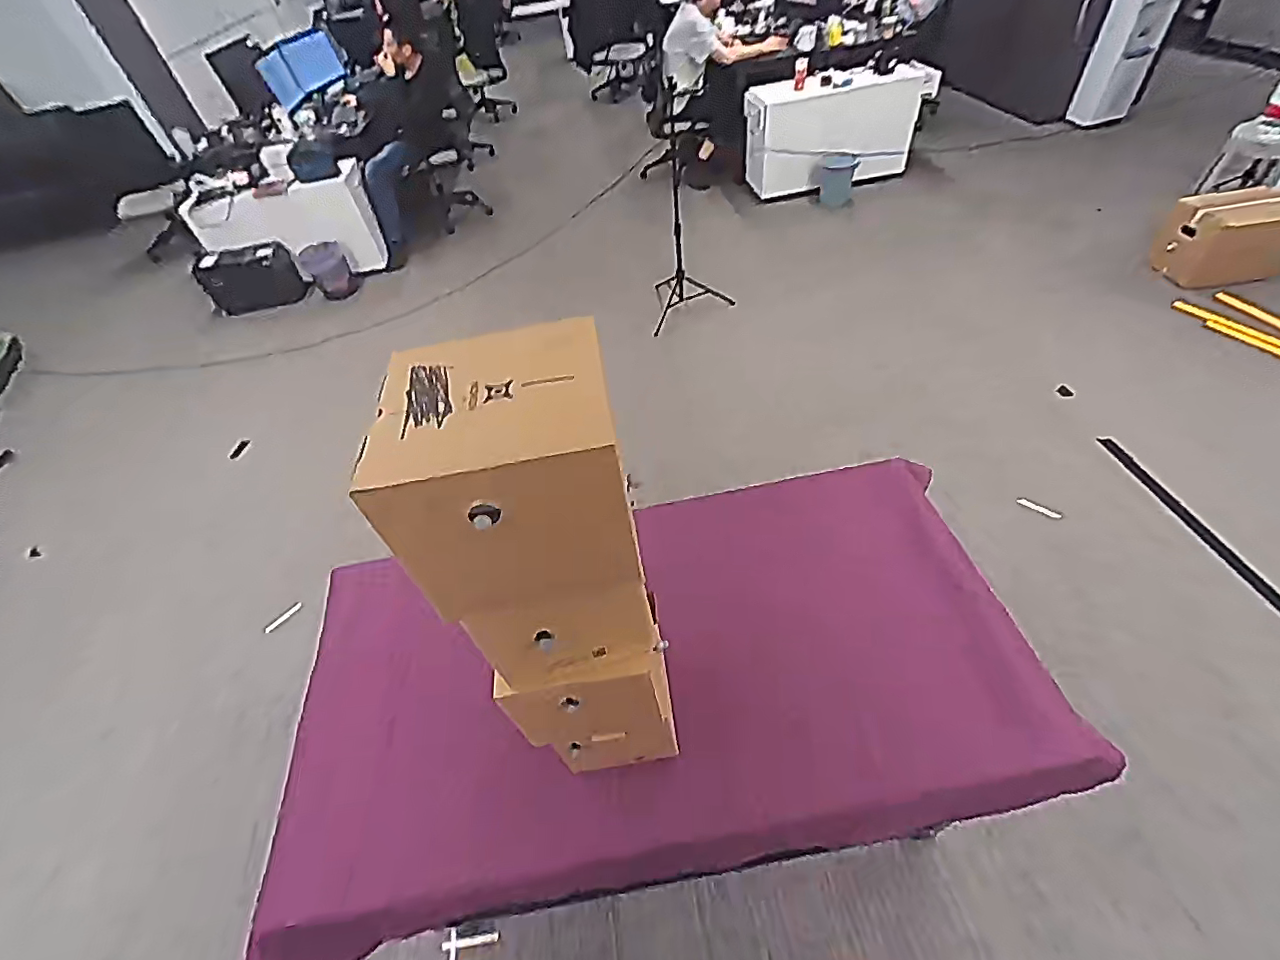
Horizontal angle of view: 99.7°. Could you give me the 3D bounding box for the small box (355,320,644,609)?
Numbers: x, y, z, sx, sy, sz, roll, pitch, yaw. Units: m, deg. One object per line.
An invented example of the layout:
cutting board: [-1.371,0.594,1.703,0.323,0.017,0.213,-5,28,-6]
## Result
small box: [-0.100,-0.009,0.461,0.179,0.176,0.168,-10,46,-1]

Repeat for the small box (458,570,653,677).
small box: [-0.089,0.094,0.590,0.168,0.176,0.179,-15,46,-5]

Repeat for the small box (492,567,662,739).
small box: [-0.073,0.216,0.697,0.179,0.176,0.168,-9,47,1]
